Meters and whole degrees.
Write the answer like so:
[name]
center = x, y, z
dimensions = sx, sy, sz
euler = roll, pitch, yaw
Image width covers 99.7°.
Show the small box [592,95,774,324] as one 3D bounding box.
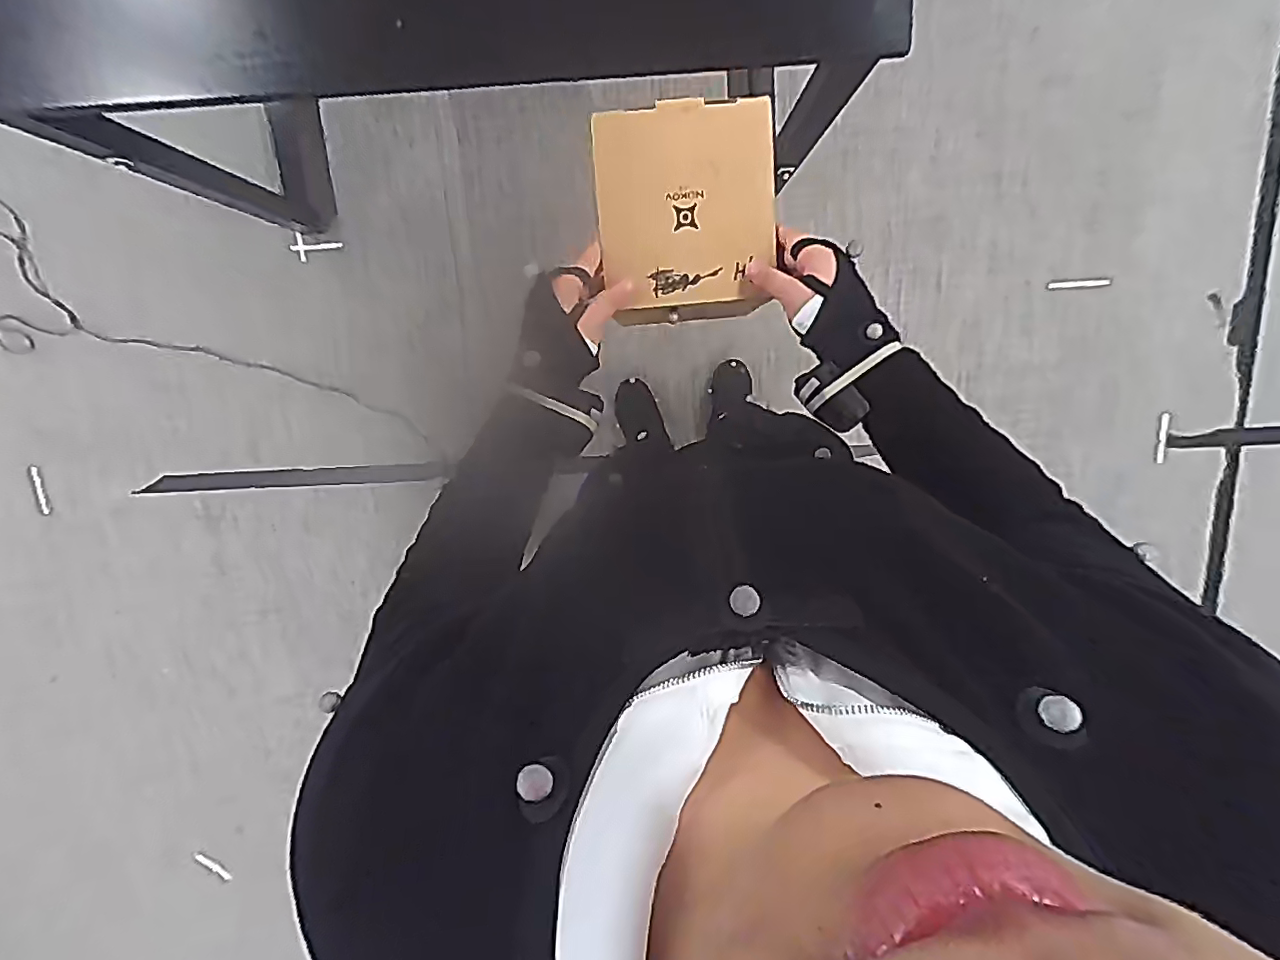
[small box]
center = 0.042, -0.271, 0.581
dimensions = 0.168, 0.176, 0.179
euler = -4, 101, 2
